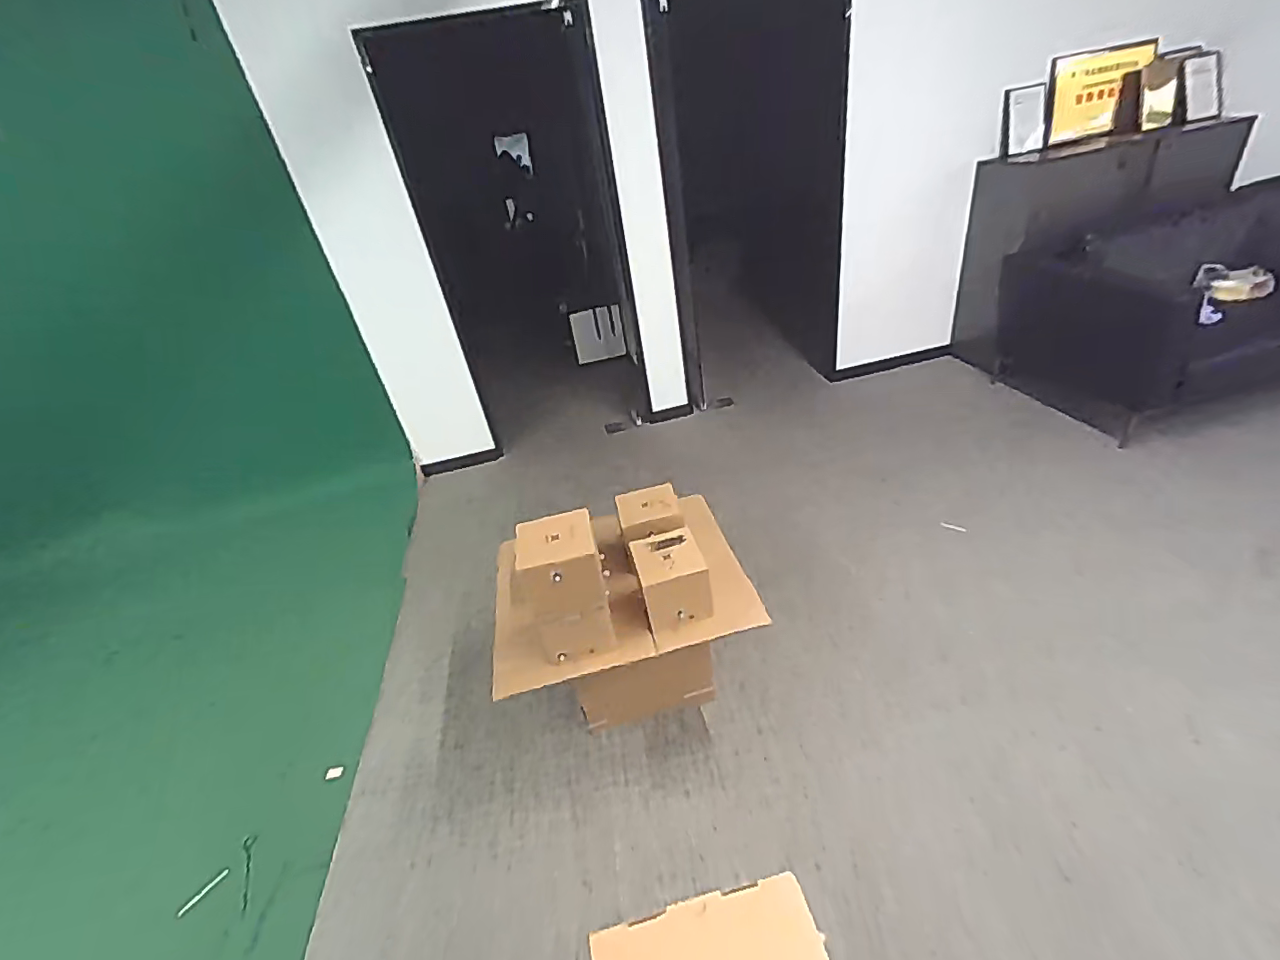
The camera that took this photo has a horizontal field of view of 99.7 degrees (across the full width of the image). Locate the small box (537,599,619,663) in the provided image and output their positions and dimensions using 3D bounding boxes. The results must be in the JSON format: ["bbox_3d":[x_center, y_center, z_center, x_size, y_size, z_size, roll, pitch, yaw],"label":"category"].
[{"bbox_3d":[-0.156,0.333,1.354,0.168,0.176,0.179,-14,32,-3],"label":"small box"}]

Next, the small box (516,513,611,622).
[{"bbox_3d":[-0.175,0.205,1.253,0.179,0.176,0.168,-13,34,-3],"label":"small box"}]

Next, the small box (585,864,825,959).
[{"bbox_3d":[0.060,0.430,0.396,0.168,0.176,0.179,-9,38,-11],"label":"small box"}]
